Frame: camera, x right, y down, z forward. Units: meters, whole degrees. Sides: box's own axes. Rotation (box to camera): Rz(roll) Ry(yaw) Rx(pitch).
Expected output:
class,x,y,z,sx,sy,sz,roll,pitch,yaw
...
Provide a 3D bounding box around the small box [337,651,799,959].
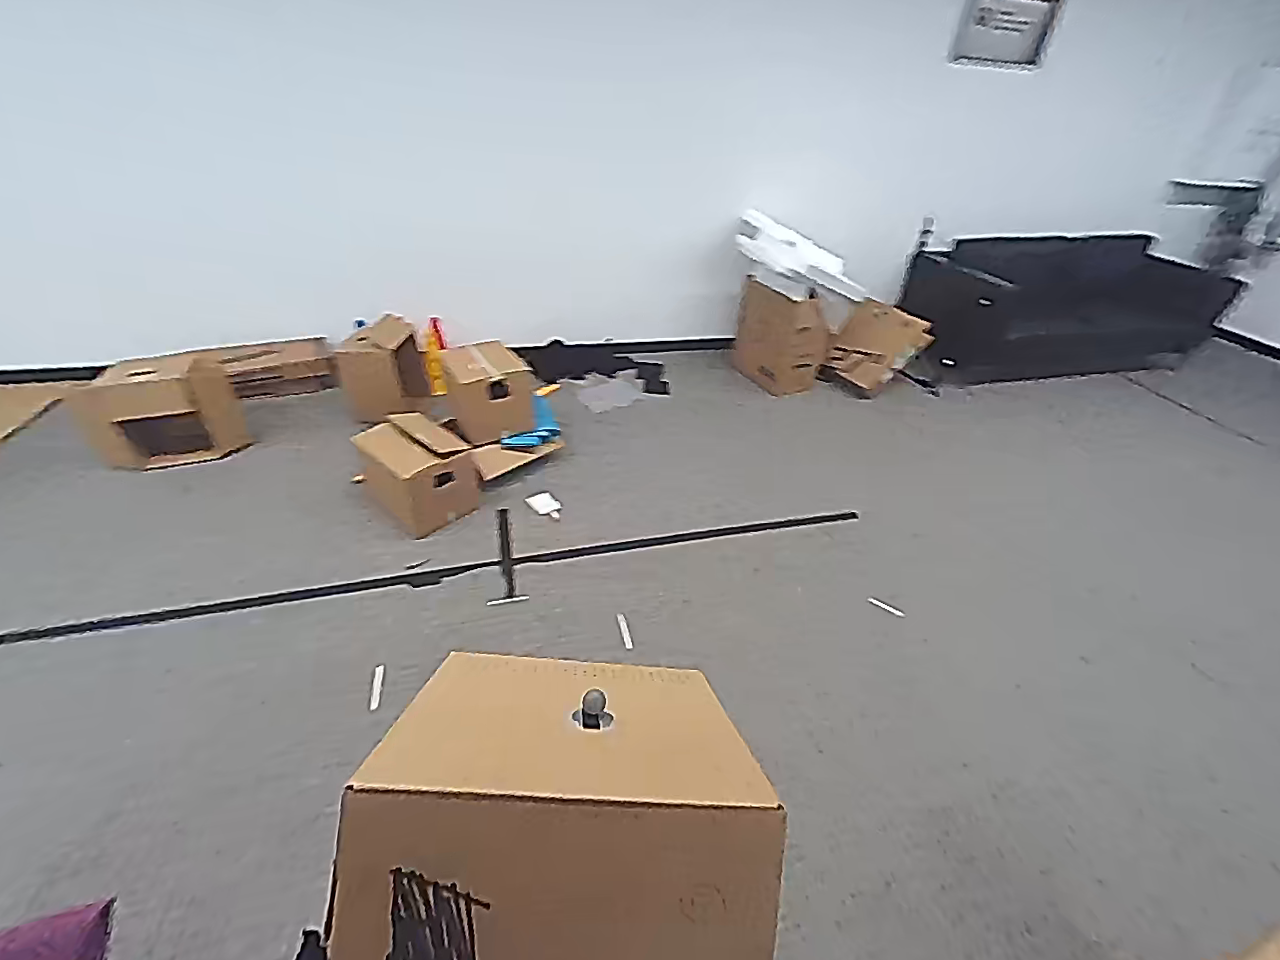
class,x,y,z,sx,sy,sz,roll,pitch,yaw
small box,-0.037,0.200,0.290,0.179,0.168,0.176,6,-1,-5
